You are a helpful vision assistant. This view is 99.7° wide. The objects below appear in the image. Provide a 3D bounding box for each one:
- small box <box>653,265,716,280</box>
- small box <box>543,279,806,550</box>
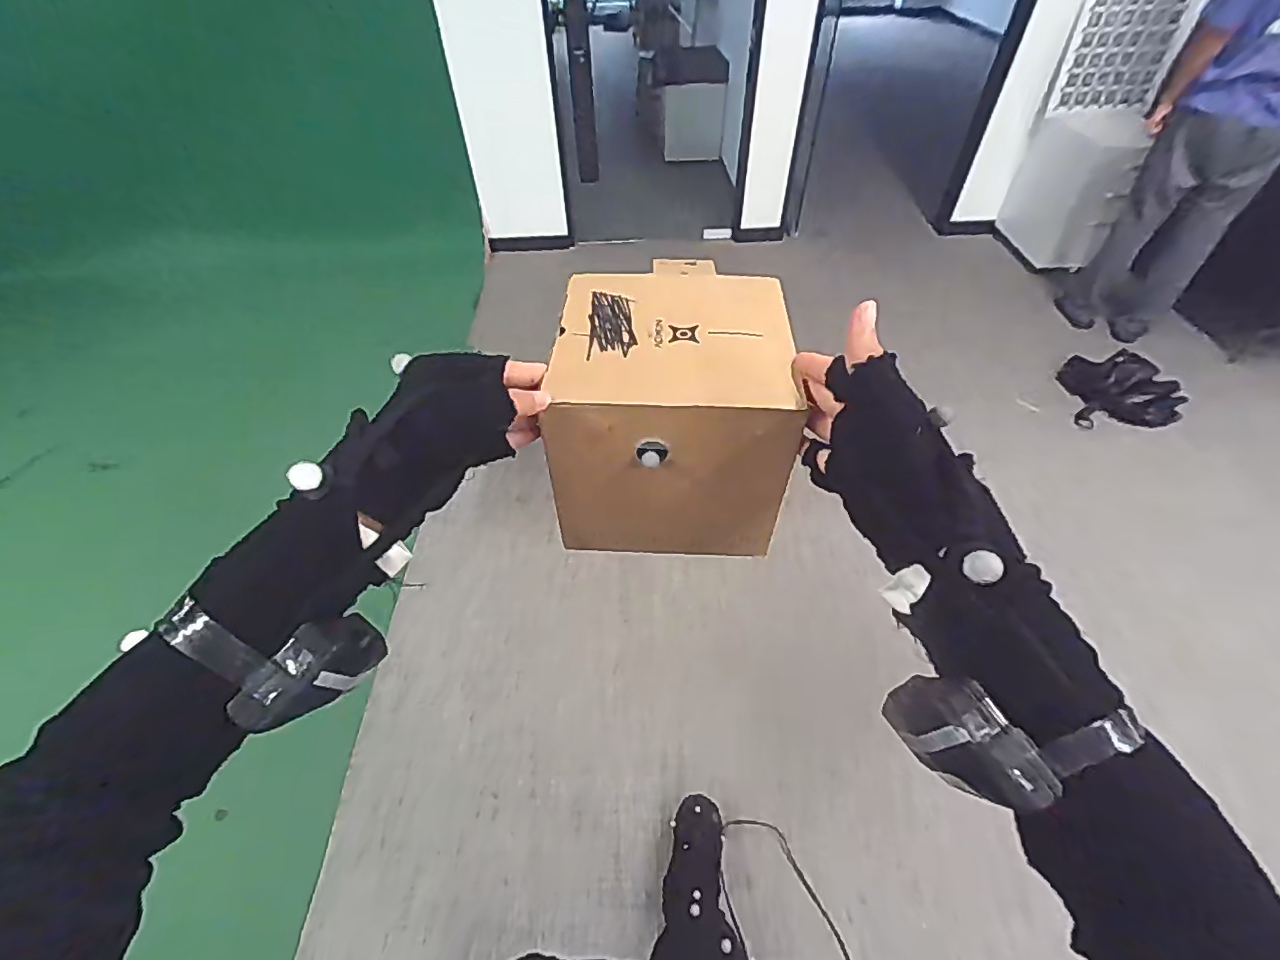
[{"bbox_3d":[0.118,-0.465,1.474,0.168,0.176,0.179,1,49,0],"label":"small box"},{"bbox_3d":[0.028,-0.053,0.464,0.179,0.176,0.168,2,49,2],"label":"small box"}]
